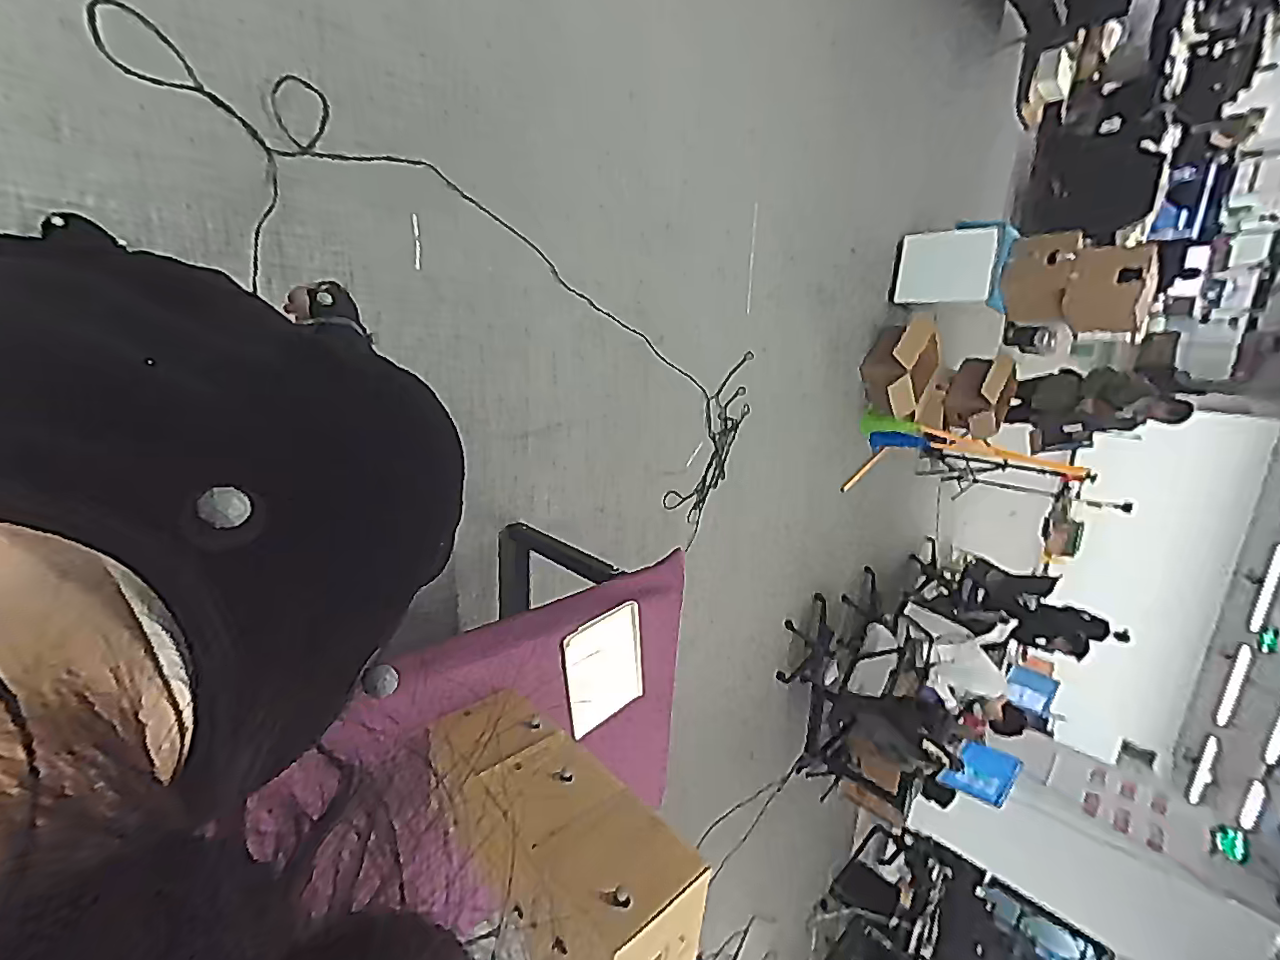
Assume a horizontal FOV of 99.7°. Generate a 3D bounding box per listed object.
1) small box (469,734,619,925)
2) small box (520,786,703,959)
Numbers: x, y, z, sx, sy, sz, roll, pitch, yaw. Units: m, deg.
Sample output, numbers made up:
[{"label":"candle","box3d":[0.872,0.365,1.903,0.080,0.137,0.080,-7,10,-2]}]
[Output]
[{"label":"small box","box3d":[-0.154,0.530,0.843,0.168,0.176,0.179,-9,110,-45]},{"label":"small box","box3d":[-0.042,0.562,0.725,0.179,0.176,0.168,-6,108,-45]}]
